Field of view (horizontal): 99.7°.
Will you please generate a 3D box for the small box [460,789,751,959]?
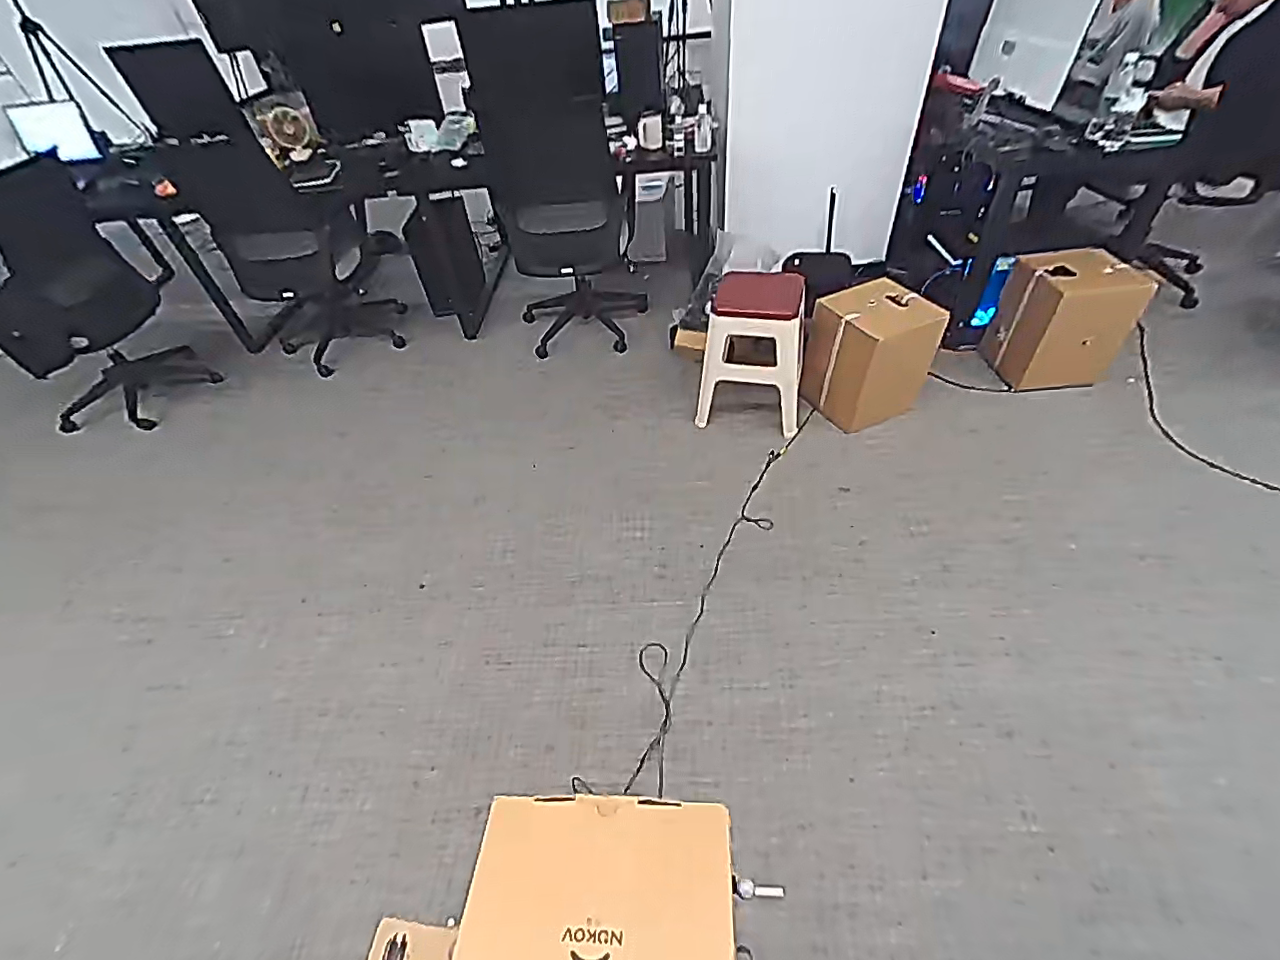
[{"bbox_3d":[-0.011,0.328,0.349,0.168,0.176,0.179,-3,39,7],"label":"small box"}]
